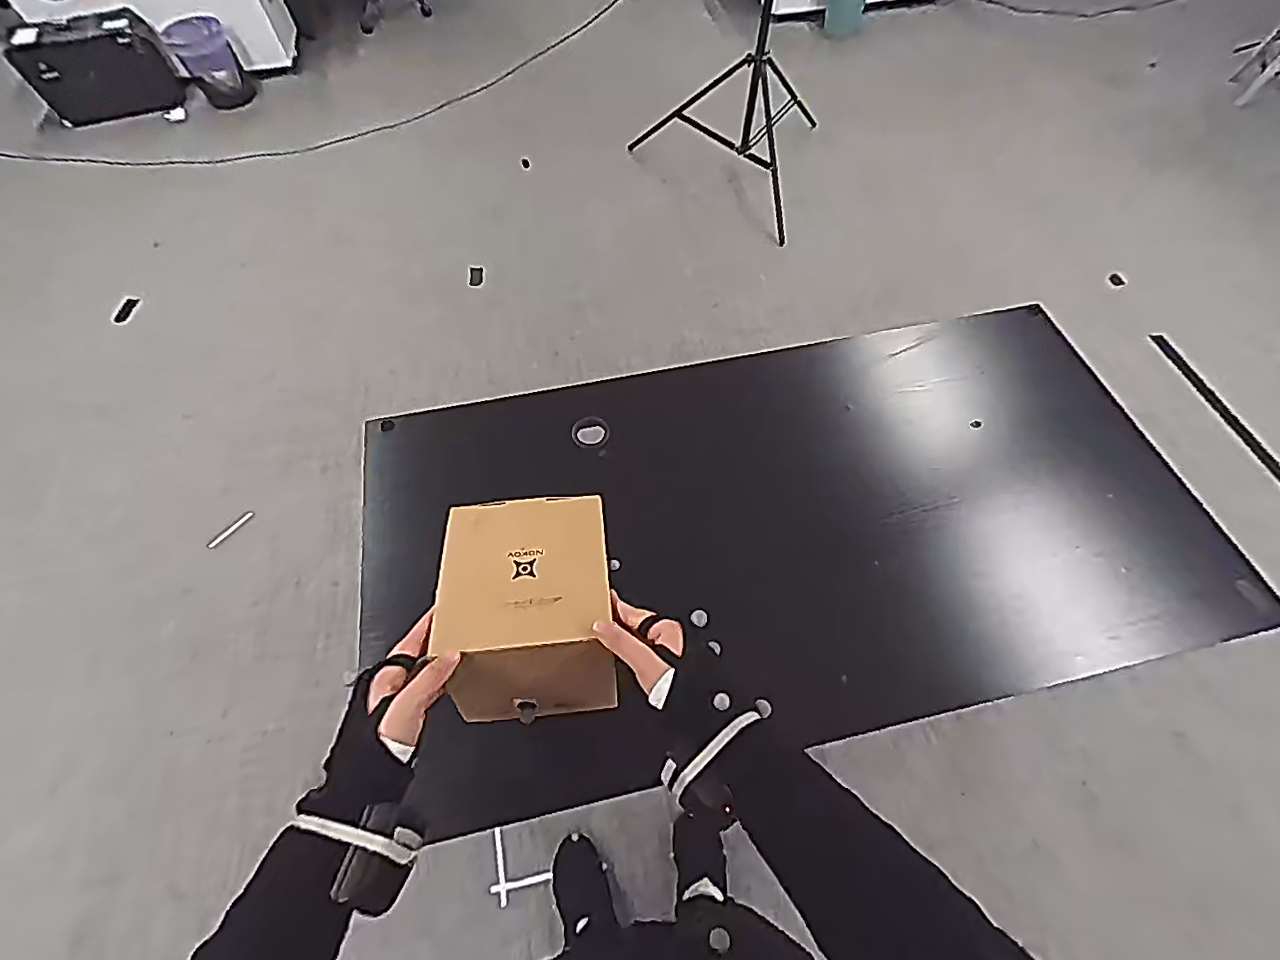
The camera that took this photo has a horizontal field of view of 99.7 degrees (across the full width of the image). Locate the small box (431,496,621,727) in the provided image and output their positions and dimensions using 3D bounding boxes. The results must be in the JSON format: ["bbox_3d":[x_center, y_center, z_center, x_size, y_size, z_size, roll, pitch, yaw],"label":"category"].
[{"bbox_3d":[-0.110,0.141,0.586,0.168,0.176,0.179,-6,47,-5],"label":"small box"}]
